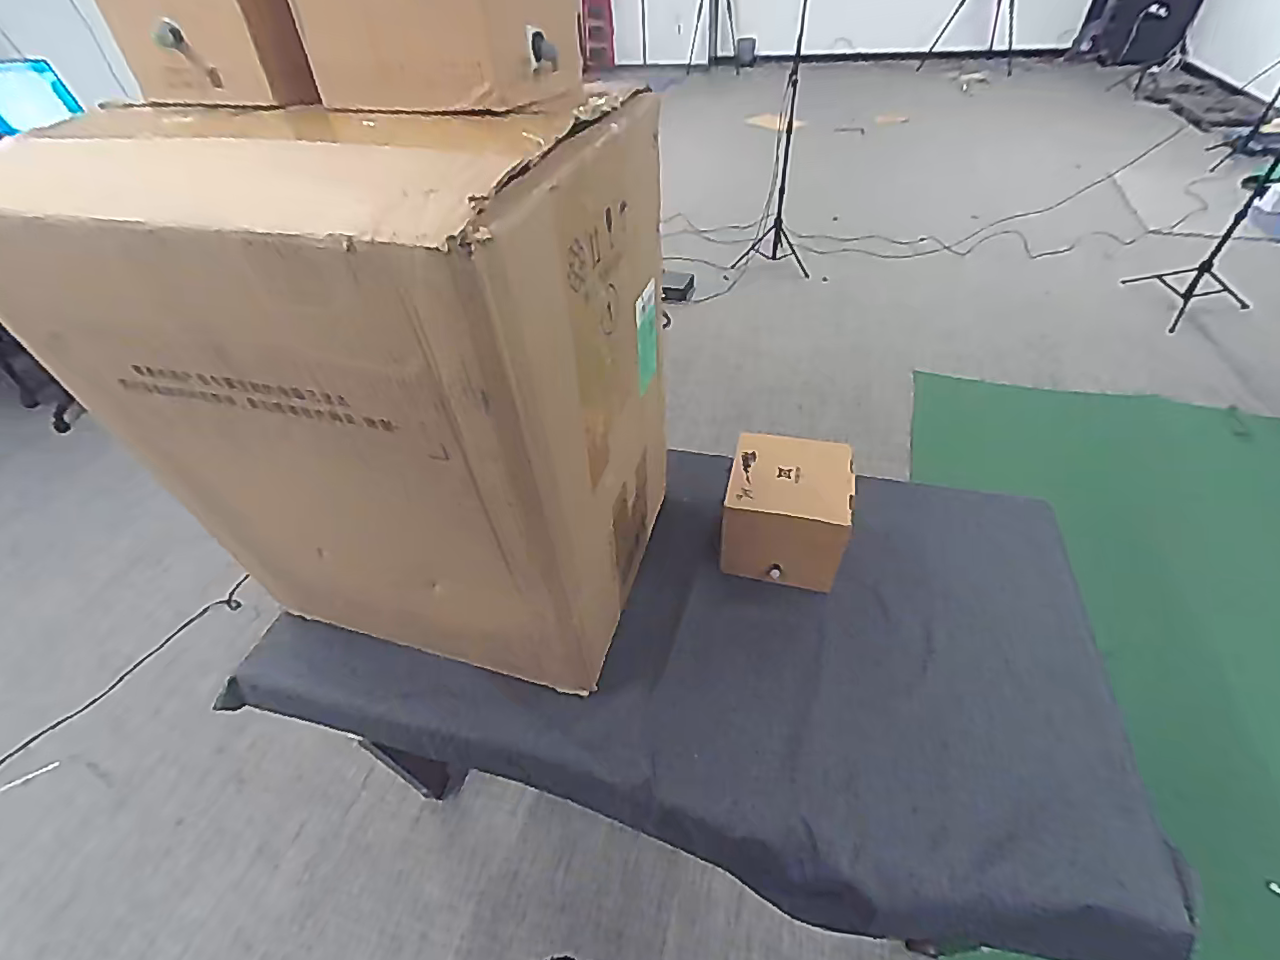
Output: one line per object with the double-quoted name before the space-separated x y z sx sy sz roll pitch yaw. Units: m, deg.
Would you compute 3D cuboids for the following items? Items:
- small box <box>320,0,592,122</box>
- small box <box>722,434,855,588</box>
"small box" -0.152 -0.414 0.456 0.179 0.176 0.168 12 44 13
"small box" 0.234 0.052 0.867 0.179 0.176 0.168 9 47 14
